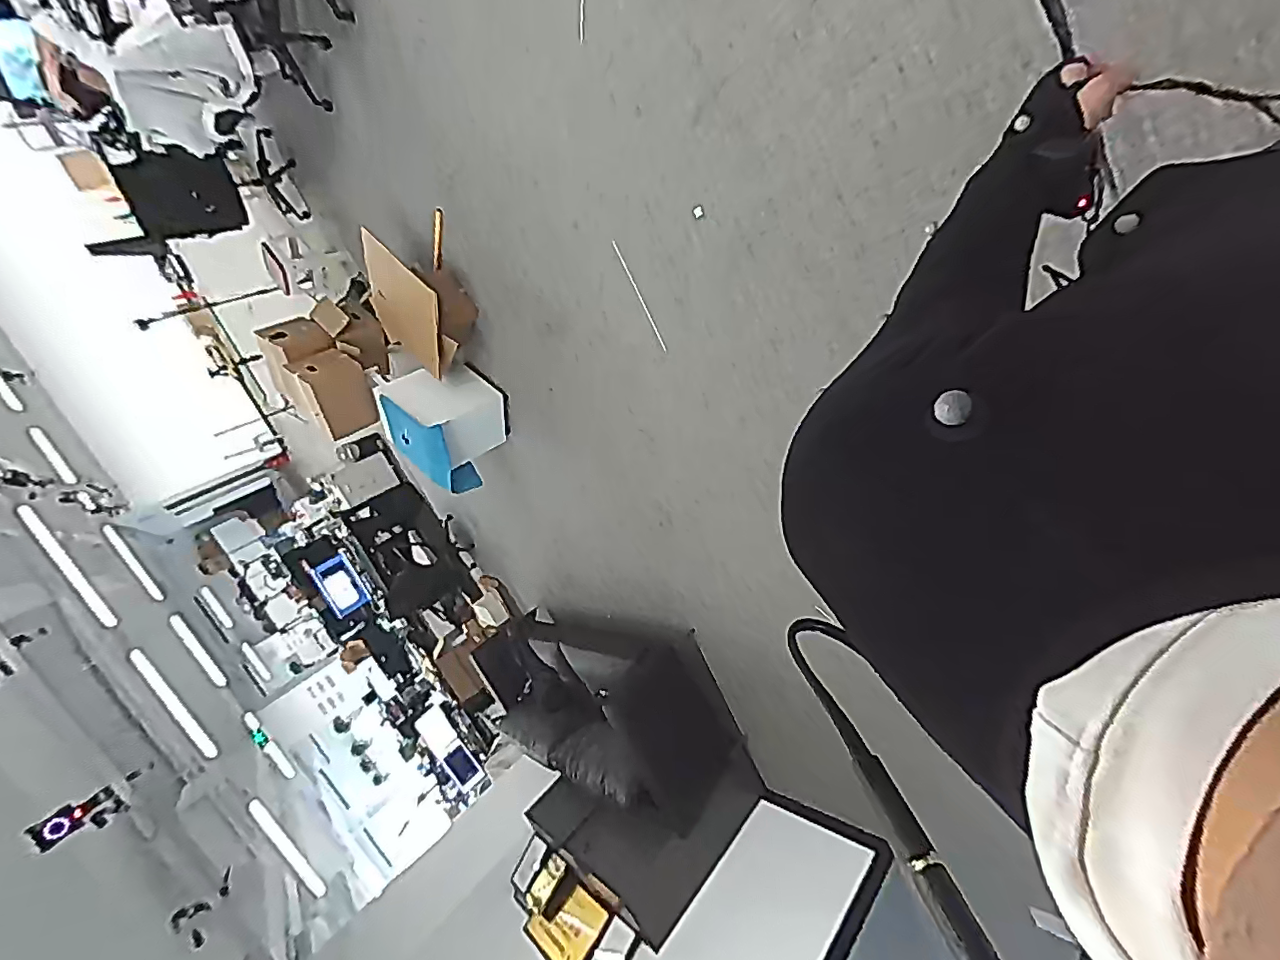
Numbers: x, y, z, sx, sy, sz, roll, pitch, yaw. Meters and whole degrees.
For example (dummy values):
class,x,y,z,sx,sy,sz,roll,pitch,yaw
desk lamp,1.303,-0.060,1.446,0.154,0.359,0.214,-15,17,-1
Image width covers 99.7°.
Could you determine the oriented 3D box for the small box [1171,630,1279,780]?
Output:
class,x,y,z,sx,sy,sz,roll,pitch,yaw
small box,1.083,0.398,0.974,0.168,0.176,0.179,-2,116,50
